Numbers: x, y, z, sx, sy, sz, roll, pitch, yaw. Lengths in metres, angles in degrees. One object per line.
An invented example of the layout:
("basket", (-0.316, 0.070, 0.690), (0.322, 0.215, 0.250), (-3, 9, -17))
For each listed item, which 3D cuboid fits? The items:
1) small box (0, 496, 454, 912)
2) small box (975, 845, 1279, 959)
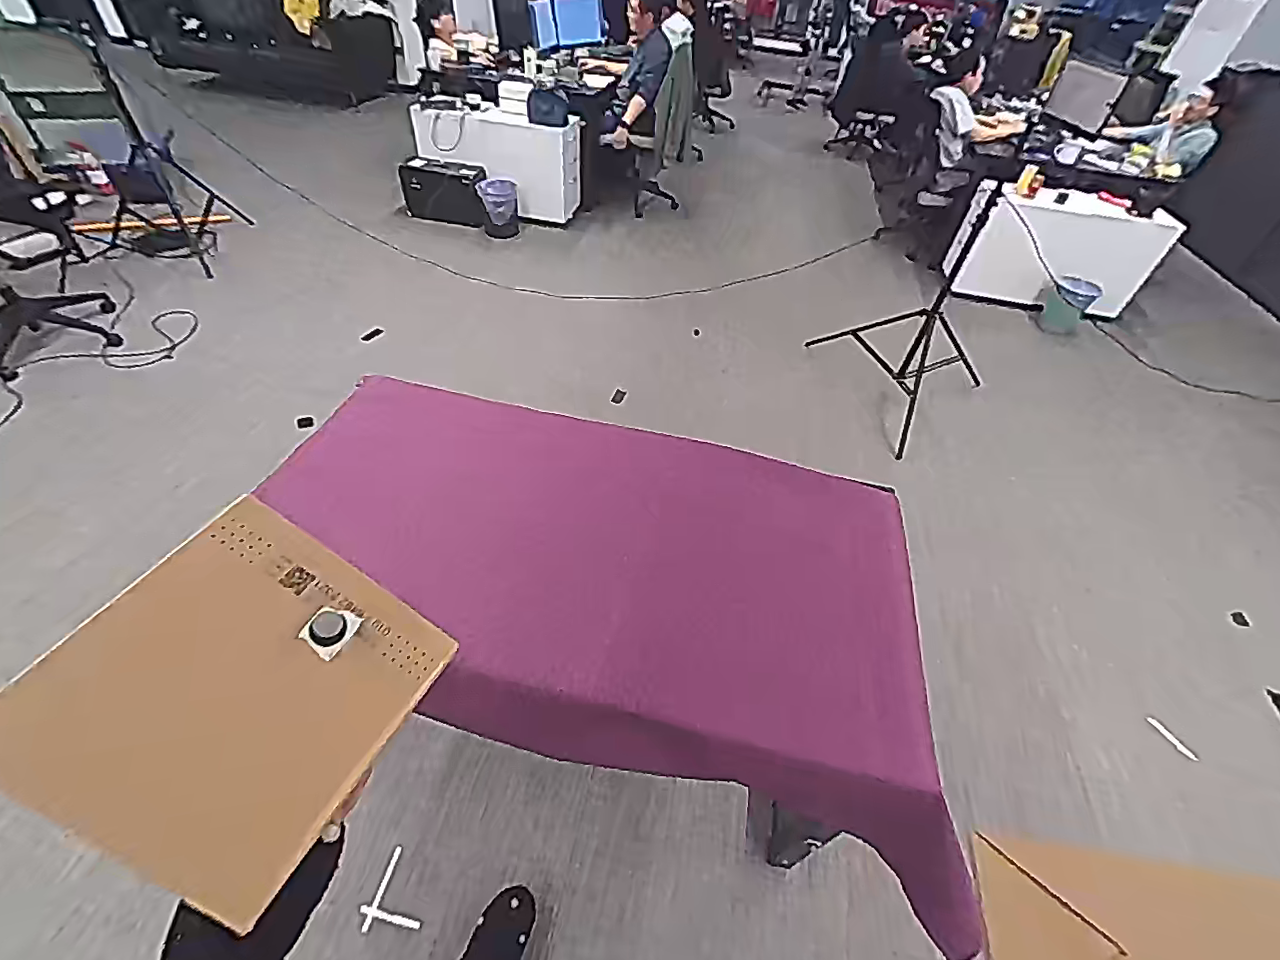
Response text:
("small box", (-0.253, 0.143, 0.372), (0.168, 0.179, 0.176), (36, 53, -6))
("small box", (0.245, 0.278, 0.217), (0.168, 0.179, 0.176), (-8, 84, 27))
